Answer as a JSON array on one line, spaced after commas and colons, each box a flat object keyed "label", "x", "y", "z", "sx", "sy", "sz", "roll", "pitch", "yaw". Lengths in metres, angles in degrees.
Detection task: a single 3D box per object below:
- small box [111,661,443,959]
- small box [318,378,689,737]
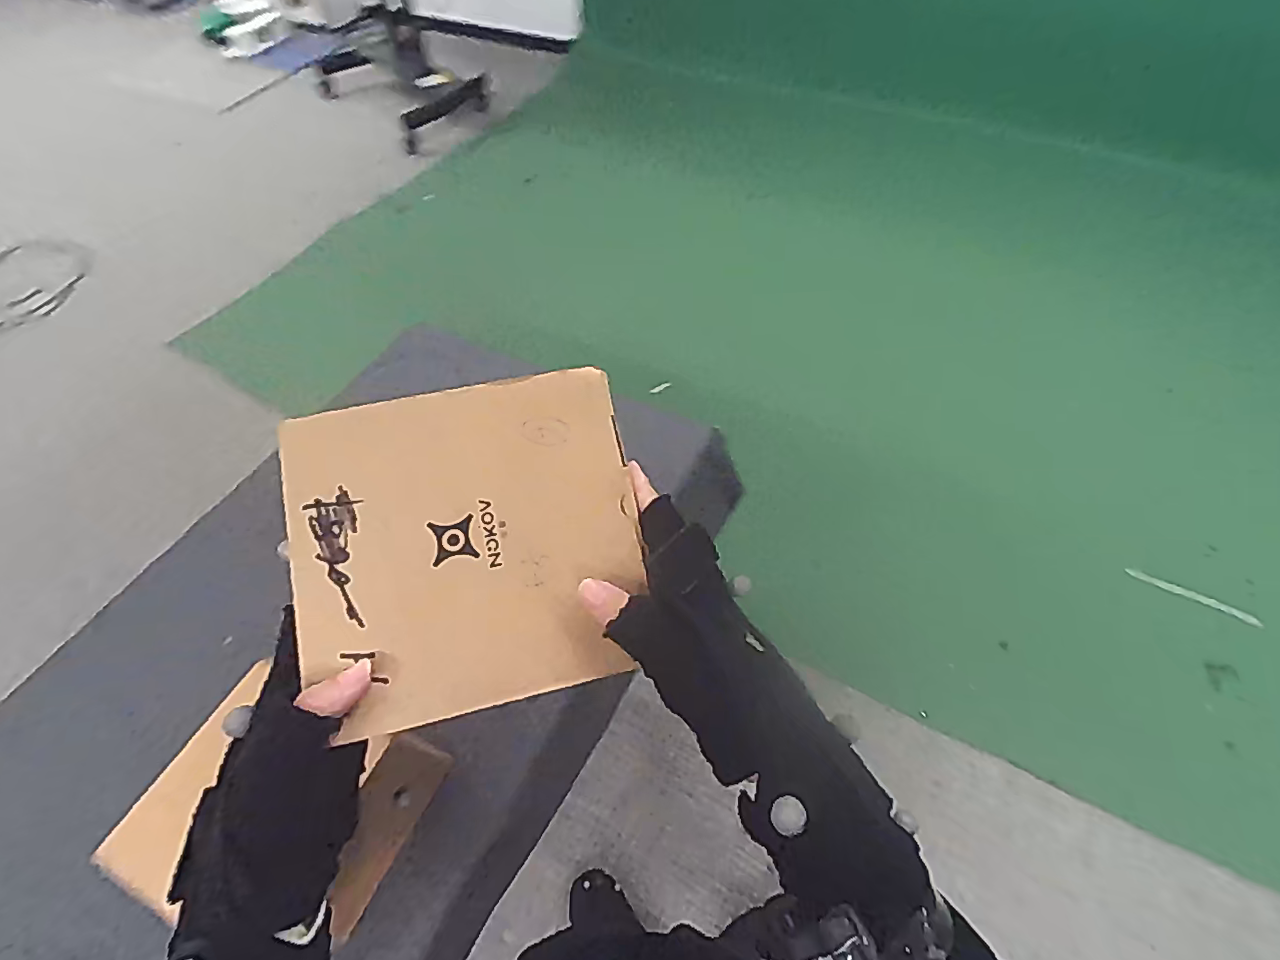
[{"label": "small box", "x": -0.318, "y": 0.309, "z": 0.524, "sx": 0.168, "sy": 0.176, "sz": 0.179, "roll": 19, "pitch": 59, "yaw": 16}, {"label": "small box", "x": -0.082, "y": 0.050, "z": 0.360, "sx": 0.179, "sy": 0.176, "sz": 0.168, "roll": -9, "pitch": 76, "yaw": -9}]
